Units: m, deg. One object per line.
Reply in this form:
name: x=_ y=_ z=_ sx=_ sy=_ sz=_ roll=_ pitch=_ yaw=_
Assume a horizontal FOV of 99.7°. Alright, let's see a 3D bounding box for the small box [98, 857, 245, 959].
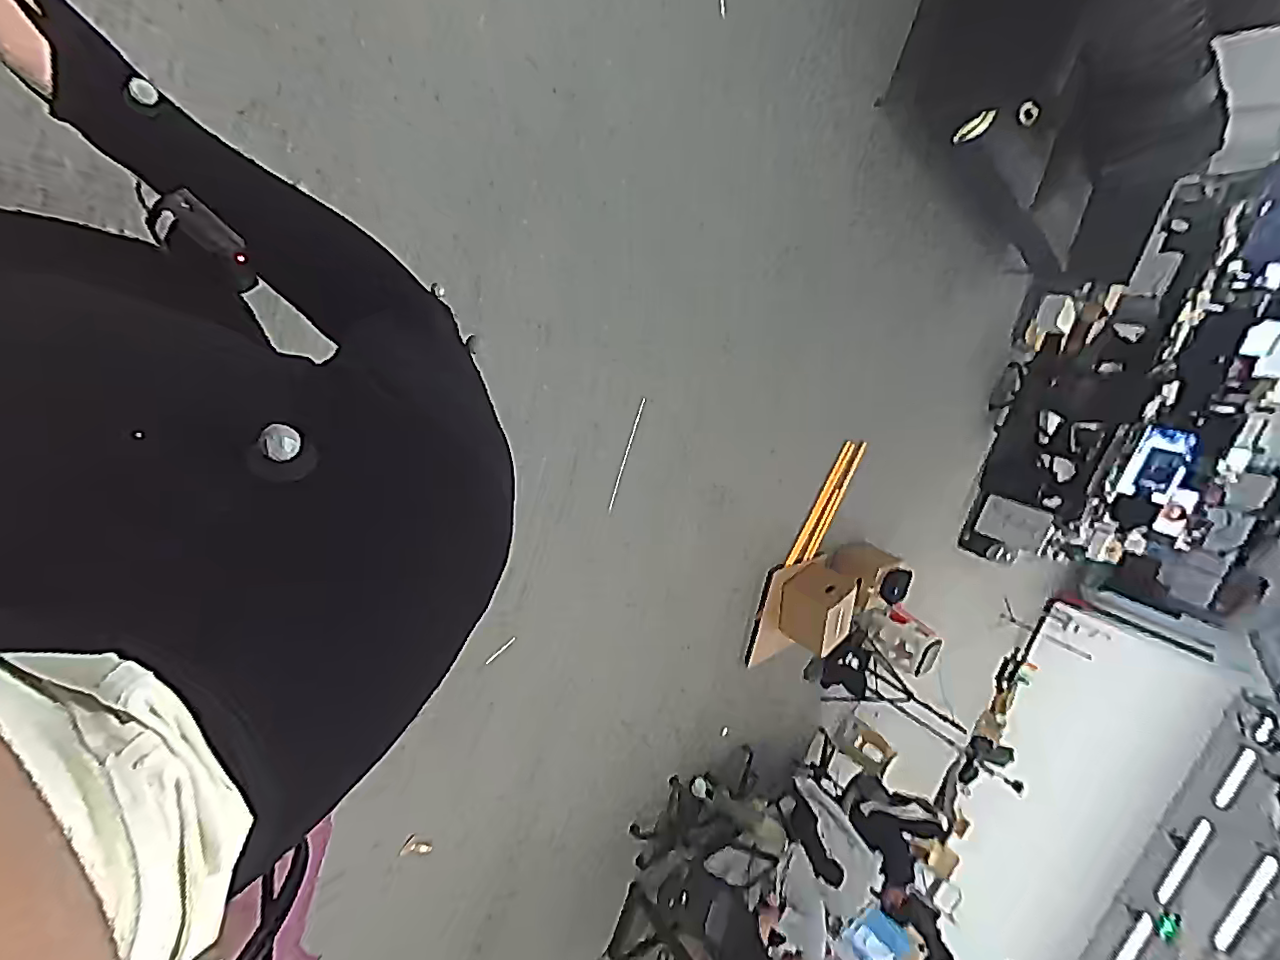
small box: x=-0.742 y=0.755 z=0.853 sx=0.168 sy=0.176 sz=0.179 roll=5 pitch=106 yaw=-43
